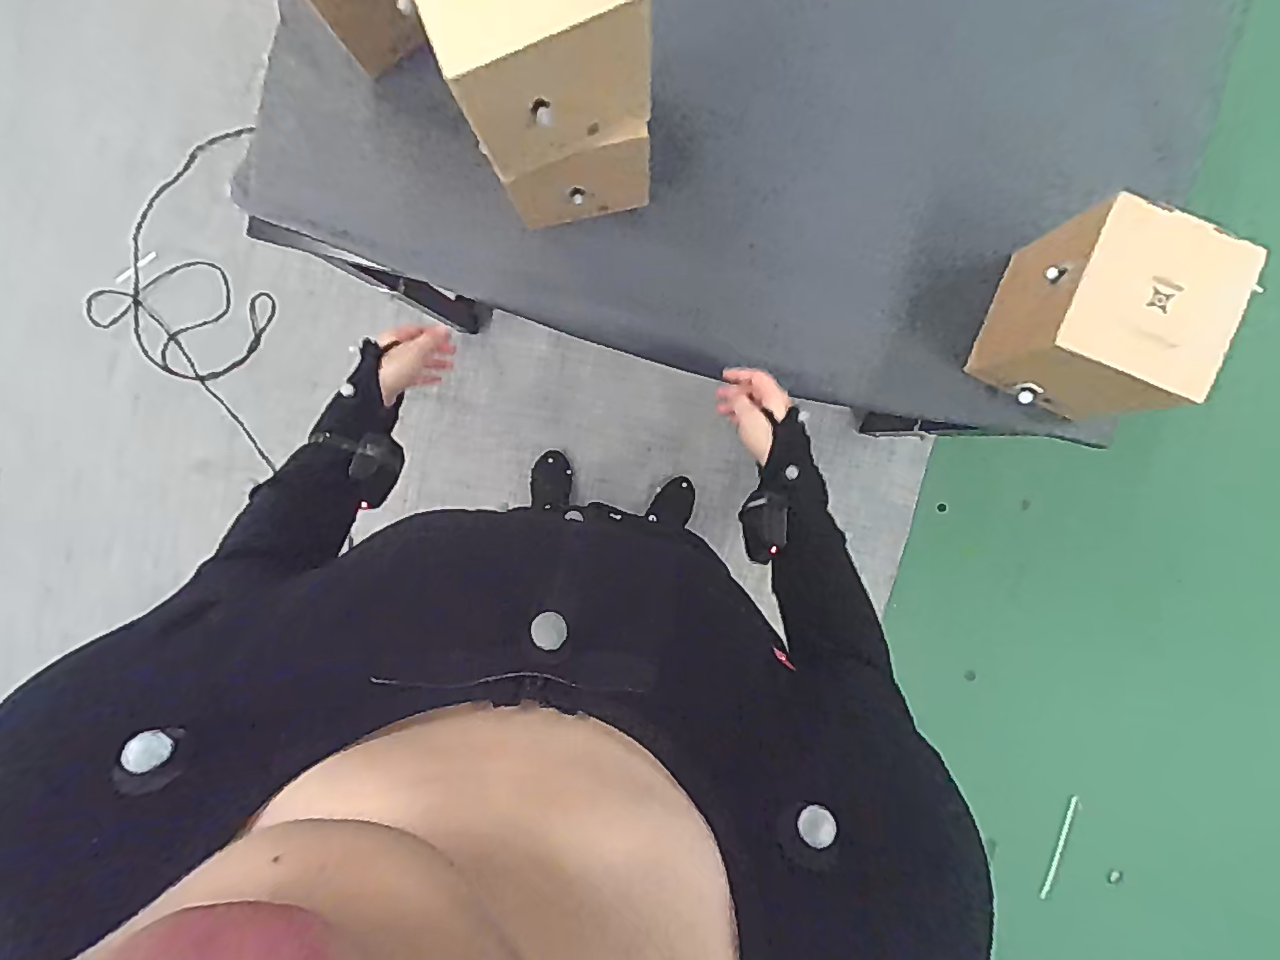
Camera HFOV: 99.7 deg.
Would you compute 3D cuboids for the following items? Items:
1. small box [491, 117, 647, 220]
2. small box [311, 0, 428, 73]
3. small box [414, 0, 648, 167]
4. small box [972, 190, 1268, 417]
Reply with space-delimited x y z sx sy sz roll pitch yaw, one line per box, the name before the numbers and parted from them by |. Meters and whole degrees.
small box | -0.085 -0.429 0.634 0.168 0.176 0.179 -11 94 2
small box | -0.338 -0.638 0.625 0.168 0.176 0.179 -35 93 4
small box | -0.096 -0.411 0.473 0.168 0.176 0.179 -22 93 3
small box | 0.533 -0.188 0.631 0.168 0.176 0.179 23 91 1
